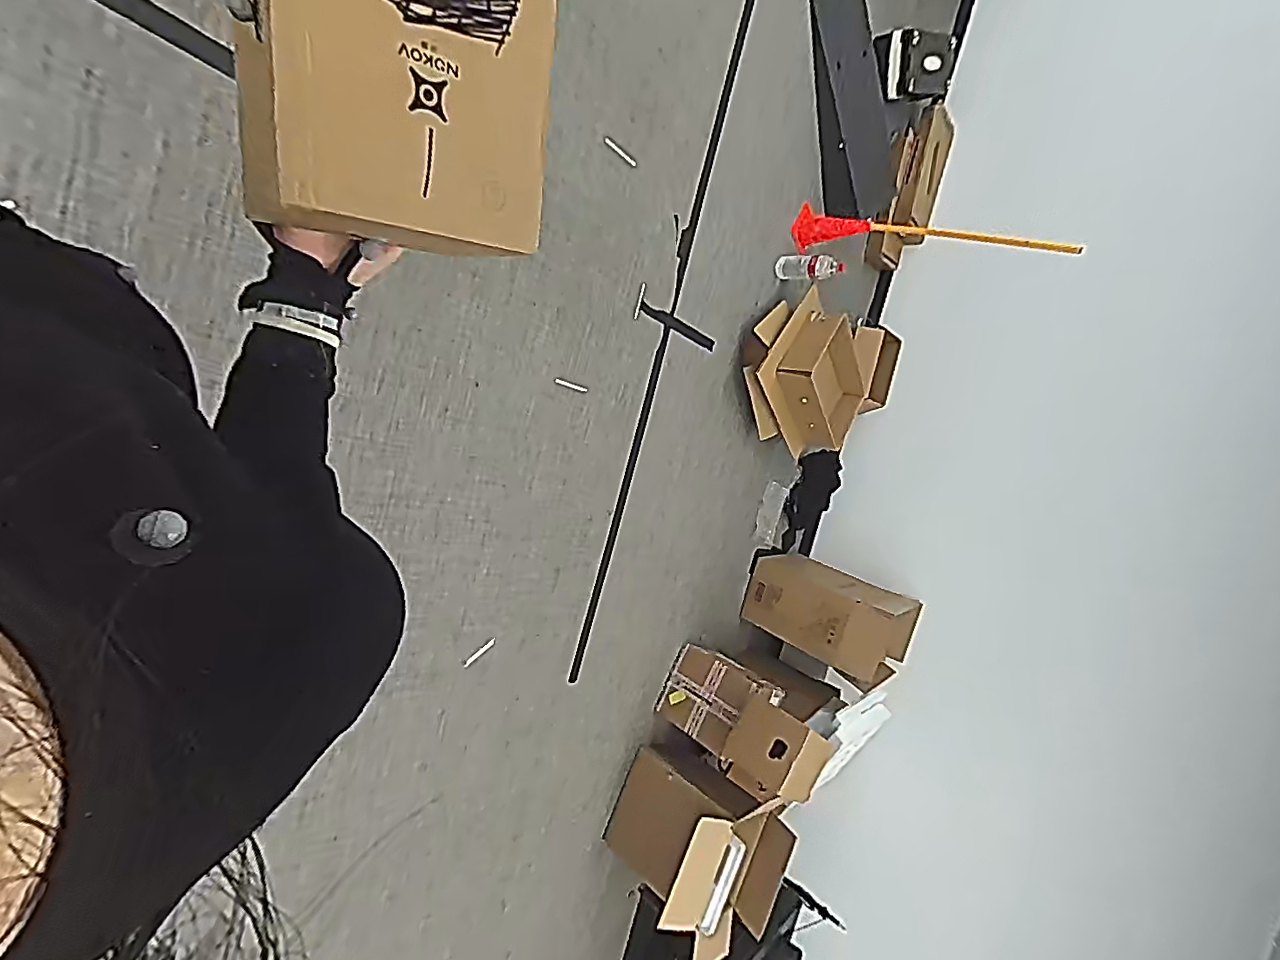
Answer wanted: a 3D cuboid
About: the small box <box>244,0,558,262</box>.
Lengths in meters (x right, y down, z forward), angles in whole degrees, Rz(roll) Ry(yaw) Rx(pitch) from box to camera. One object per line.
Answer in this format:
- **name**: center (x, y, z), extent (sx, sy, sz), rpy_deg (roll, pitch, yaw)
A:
- **small box**: center (-0.179, -0.267, 0.399), extent (0.168, 0.176, 0.179), rpy_deg (-6, 111, -40)
